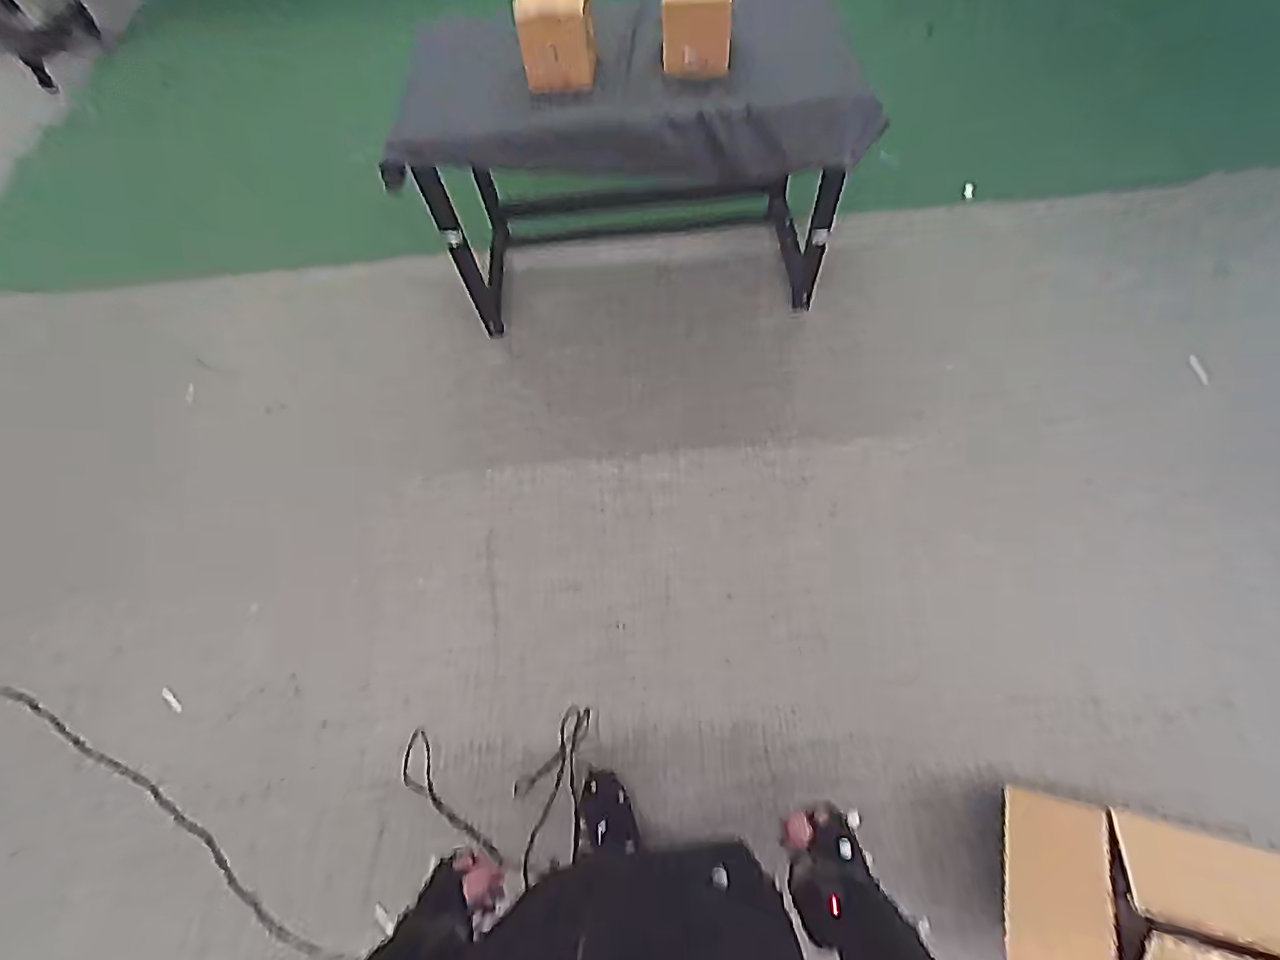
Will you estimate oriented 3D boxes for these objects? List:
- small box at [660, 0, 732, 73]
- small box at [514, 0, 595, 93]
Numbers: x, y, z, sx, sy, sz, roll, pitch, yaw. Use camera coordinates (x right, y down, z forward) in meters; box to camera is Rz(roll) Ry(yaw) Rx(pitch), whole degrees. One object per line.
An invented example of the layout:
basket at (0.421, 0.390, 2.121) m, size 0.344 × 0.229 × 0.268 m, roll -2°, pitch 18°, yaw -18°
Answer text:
small box at (0.142, -1.158, 1.352) m, size 0.168 × 0.176 × 0.179 m, roll 4°, pitch 64°, yaw 9°
small box at (-0.209, -1.121, 1.382) m, size 0.168 × 0.176 × 0.179 m, roll -2°, pitch 63°, yaw 5°
